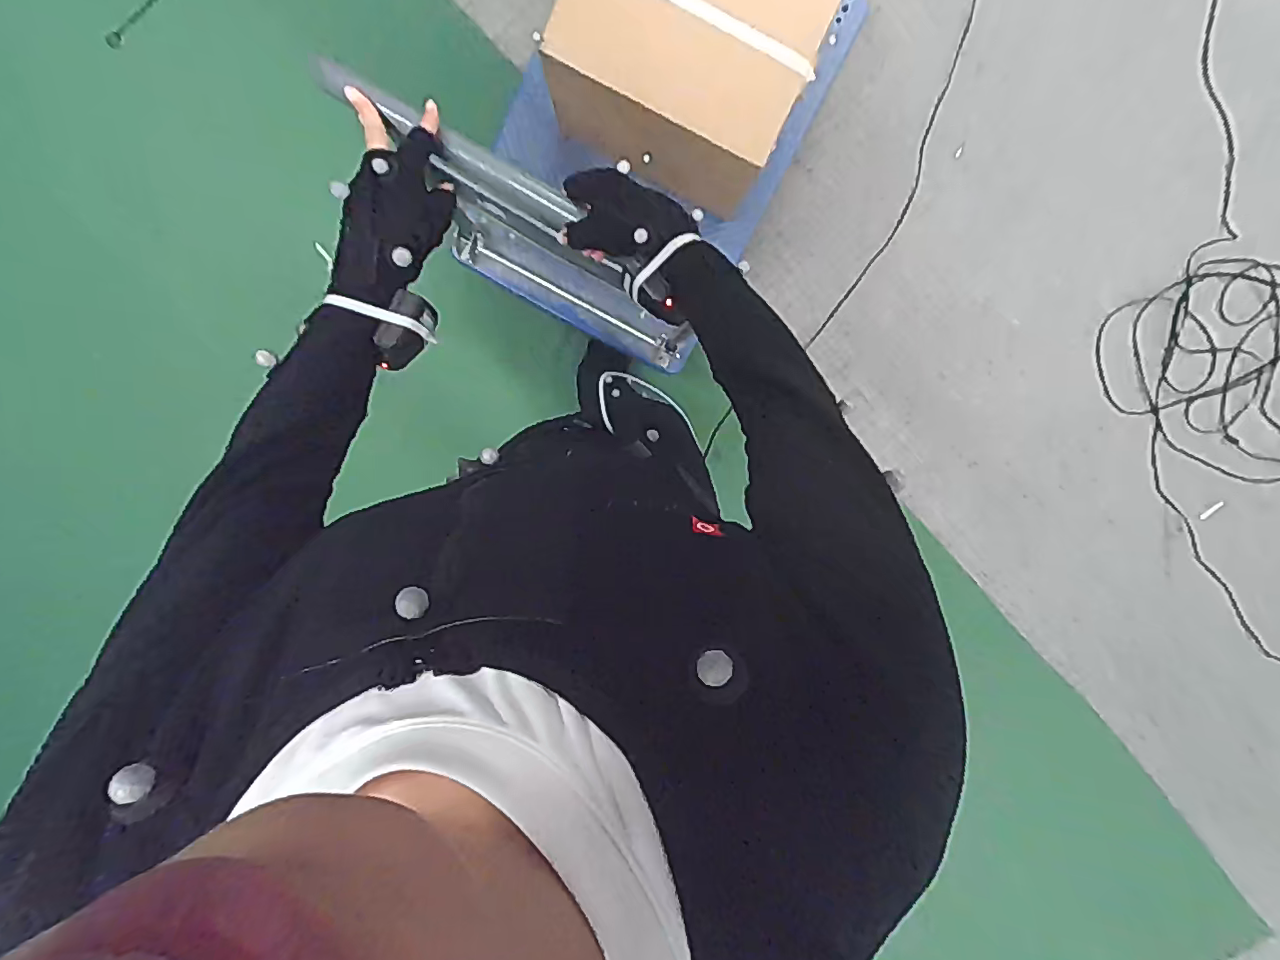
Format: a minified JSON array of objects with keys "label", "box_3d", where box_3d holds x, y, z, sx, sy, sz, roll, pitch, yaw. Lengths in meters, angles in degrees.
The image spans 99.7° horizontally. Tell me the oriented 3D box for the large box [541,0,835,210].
[{"label":"large box","box_3d":[0.083,-0.767,0.992,0.408,0.320,0.320,24,99,-5]}]
